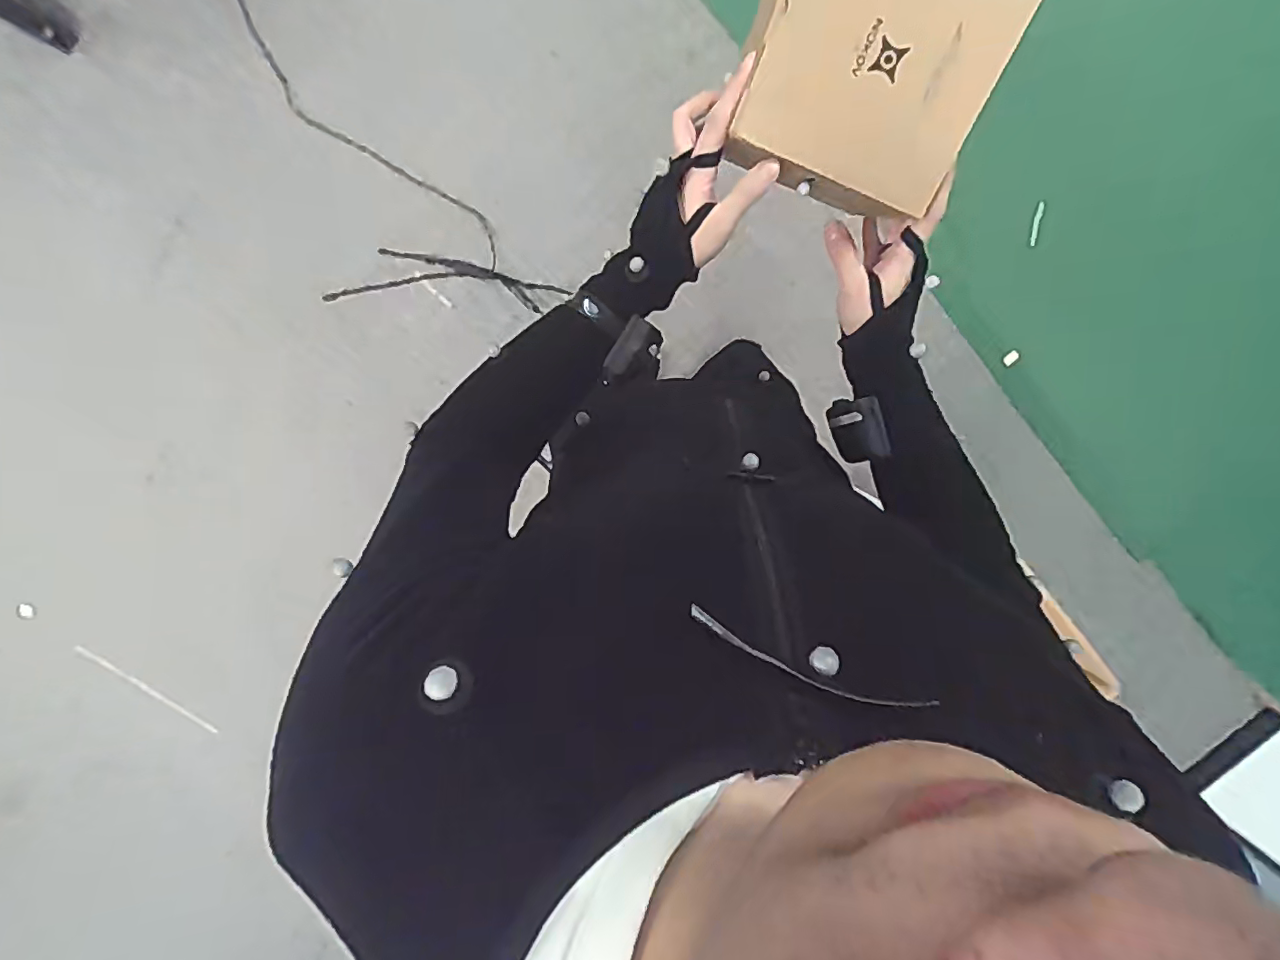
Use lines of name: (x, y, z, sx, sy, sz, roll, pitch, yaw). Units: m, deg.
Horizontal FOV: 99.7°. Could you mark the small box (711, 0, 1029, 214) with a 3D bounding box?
small box: (0.173, -0.345, 0.471, 0.179, 0.176, 0.168, 18, 116, -8)
